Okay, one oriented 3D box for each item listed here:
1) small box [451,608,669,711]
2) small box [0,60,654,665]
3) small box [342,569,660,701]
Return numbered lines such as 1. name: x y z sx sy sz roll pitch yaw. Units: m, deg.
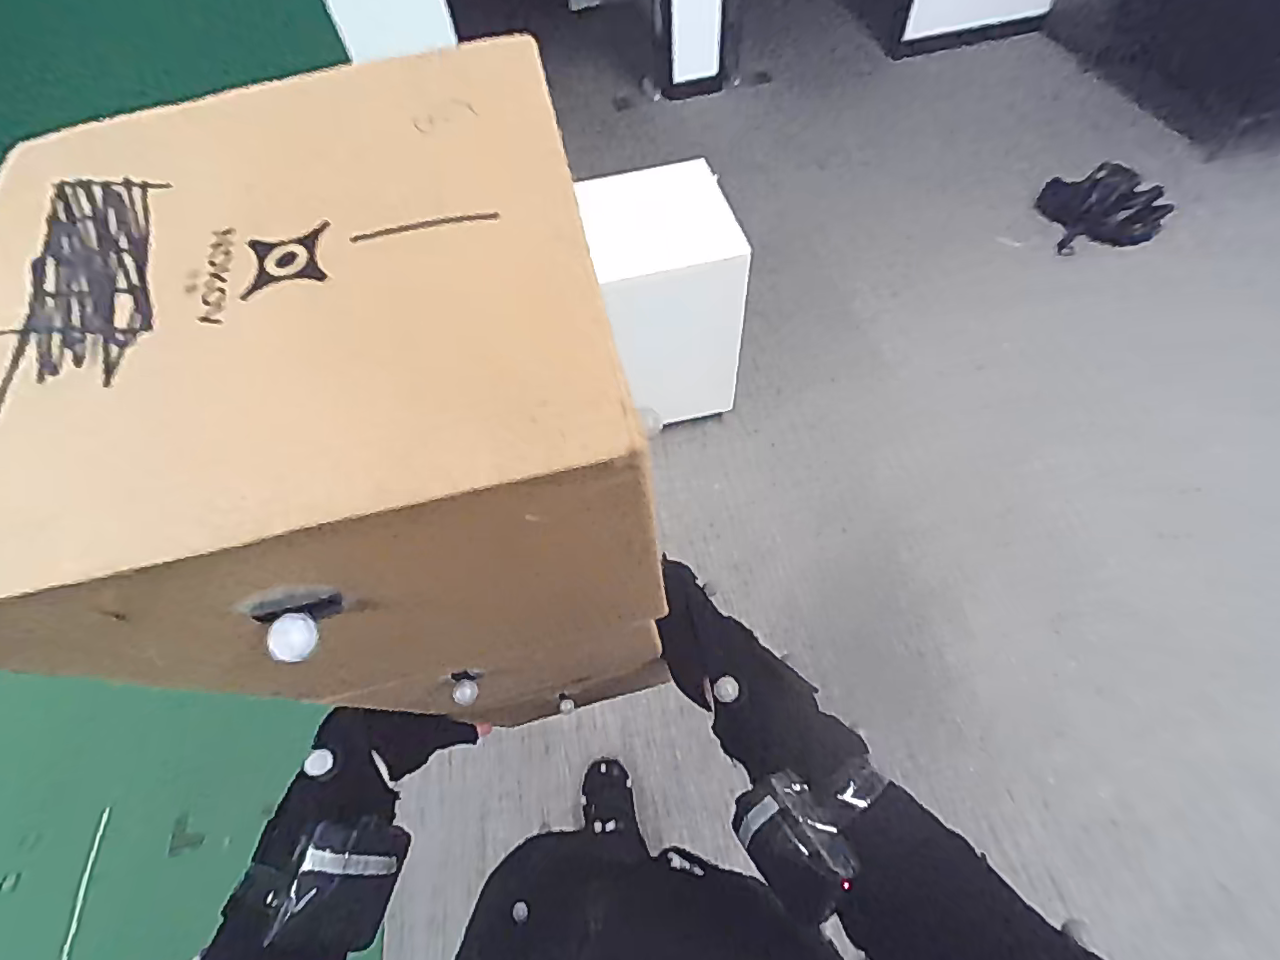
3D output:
1. small box: -0.076 0.116 0.526 0.179 0.176 0.168 -15 64 -4
2. small box: -0.097 -0.028 0.231 0.179 0.176 0.168 -12 64 -2
3. small box: -0.087 0.041 0.383 0.168 0.176 0.179 -16 64 -4
